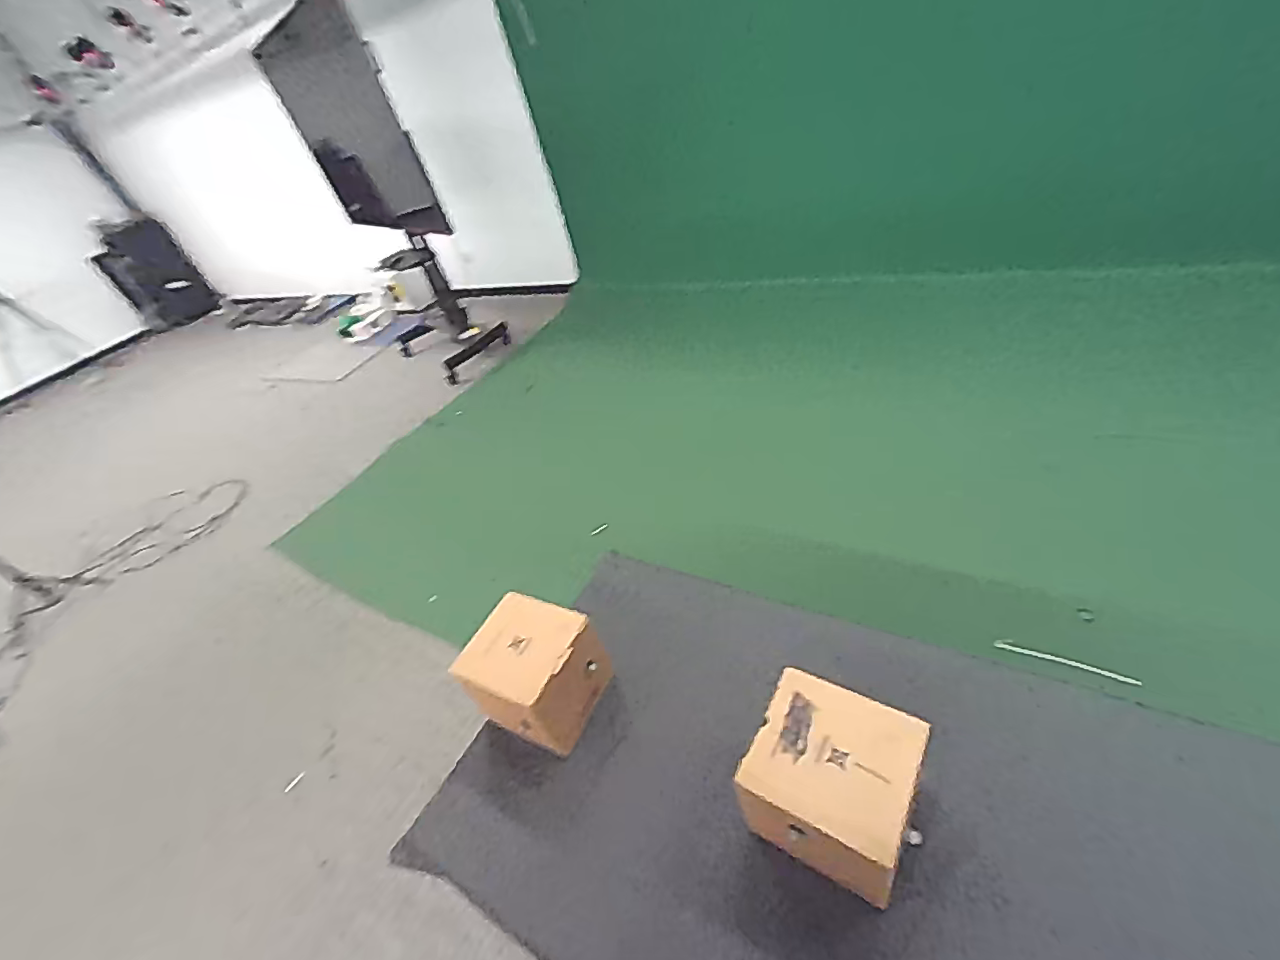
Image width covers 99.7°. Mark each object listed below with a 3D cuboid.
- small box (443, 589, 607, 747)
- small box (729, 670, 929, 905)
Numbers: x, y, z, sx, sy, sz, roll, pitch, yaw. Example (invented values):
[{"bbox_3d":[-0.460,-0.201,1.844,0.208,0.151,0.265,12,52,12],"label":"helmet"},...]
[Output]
[{"bbox_3d":[-0.179,0.312,0.897,0.179,0.176,0.168,8,44,30],"label":"small box"},{"bbox_3d":[0.237,0.379,0.672,0.179,0.176,0.168,17,51,36],"label":"small box"}]
